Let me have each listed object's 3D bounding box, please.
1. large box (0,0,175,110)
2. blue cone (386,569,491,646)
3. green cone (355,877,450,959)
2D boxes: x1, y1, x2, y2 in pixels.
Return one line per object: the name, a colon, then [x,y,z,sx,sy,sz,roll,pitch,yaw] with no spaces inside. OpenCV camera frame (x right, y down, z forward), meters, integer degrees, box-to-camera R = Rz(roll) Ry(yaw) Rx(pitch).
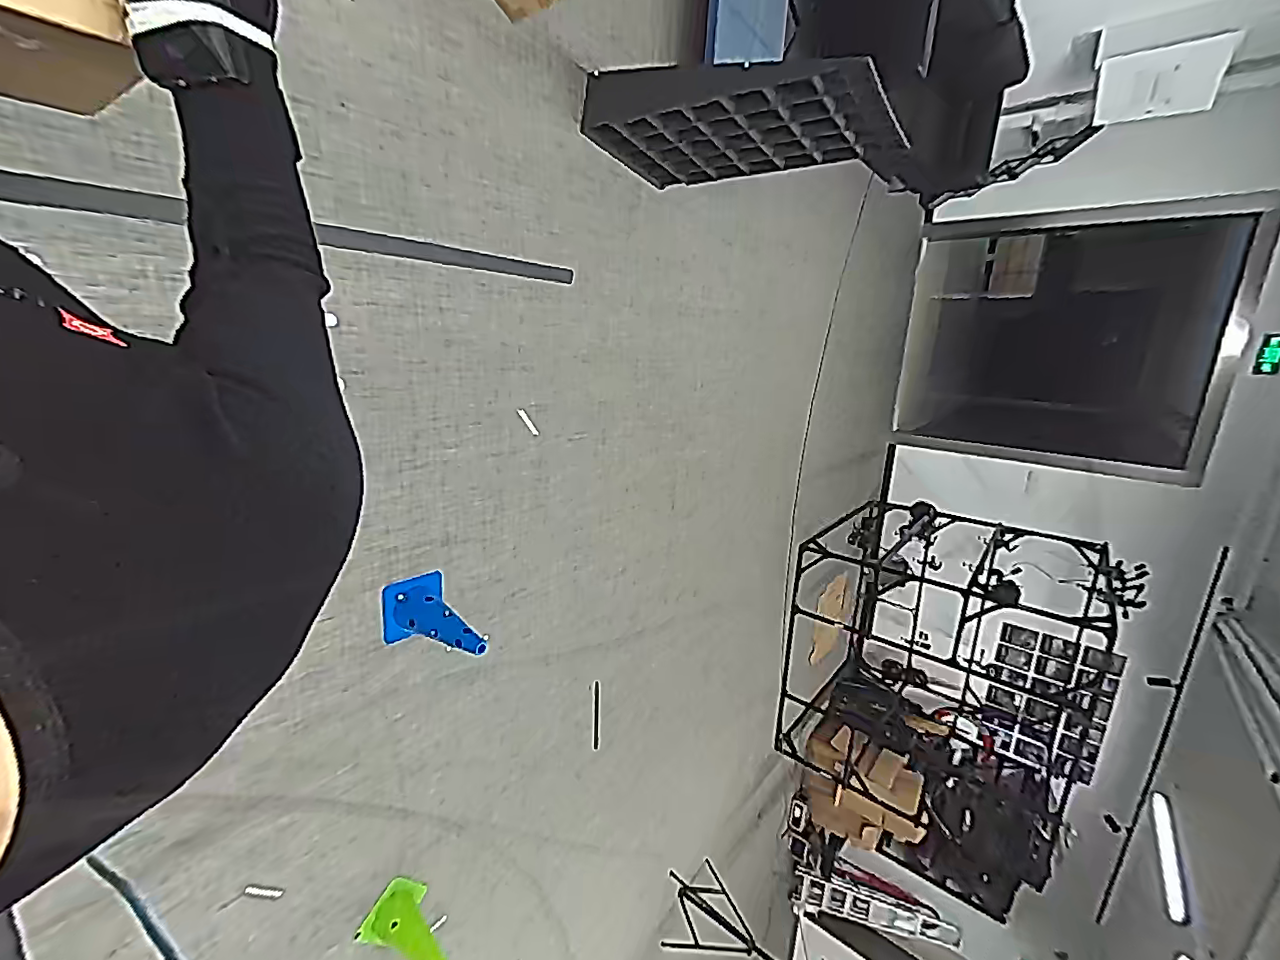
large box: [-0.546,-0.435,0.261,0.408,0.320,0.320,-17,119,-50]
blue cone: [-0.593,0.423,1.640,0.192,0.380,0.193,-11,110,-52]
green cone: [-0.729,1.537,1.789,0.202,0.368,0.200,-56,140,-28]
